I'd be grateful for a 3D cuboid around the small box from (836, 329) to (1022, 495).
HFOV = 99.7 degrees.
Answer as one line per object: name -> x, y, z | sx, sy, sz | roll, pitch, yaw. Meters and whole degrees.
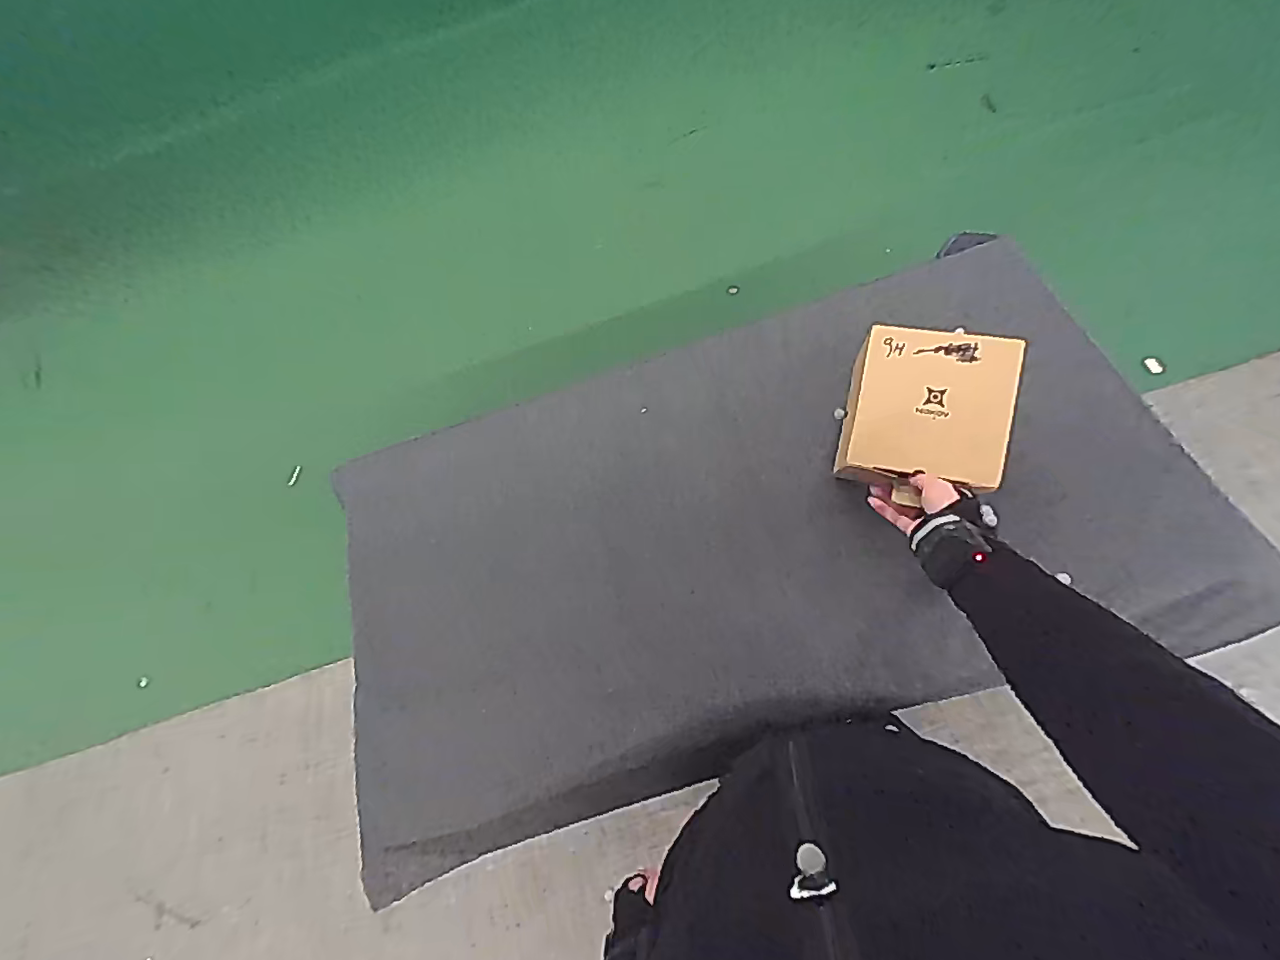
small box -> 0.363, -0.079, 0.713 | 0.168, 0.176, 0.179 | 11, 89, 15
